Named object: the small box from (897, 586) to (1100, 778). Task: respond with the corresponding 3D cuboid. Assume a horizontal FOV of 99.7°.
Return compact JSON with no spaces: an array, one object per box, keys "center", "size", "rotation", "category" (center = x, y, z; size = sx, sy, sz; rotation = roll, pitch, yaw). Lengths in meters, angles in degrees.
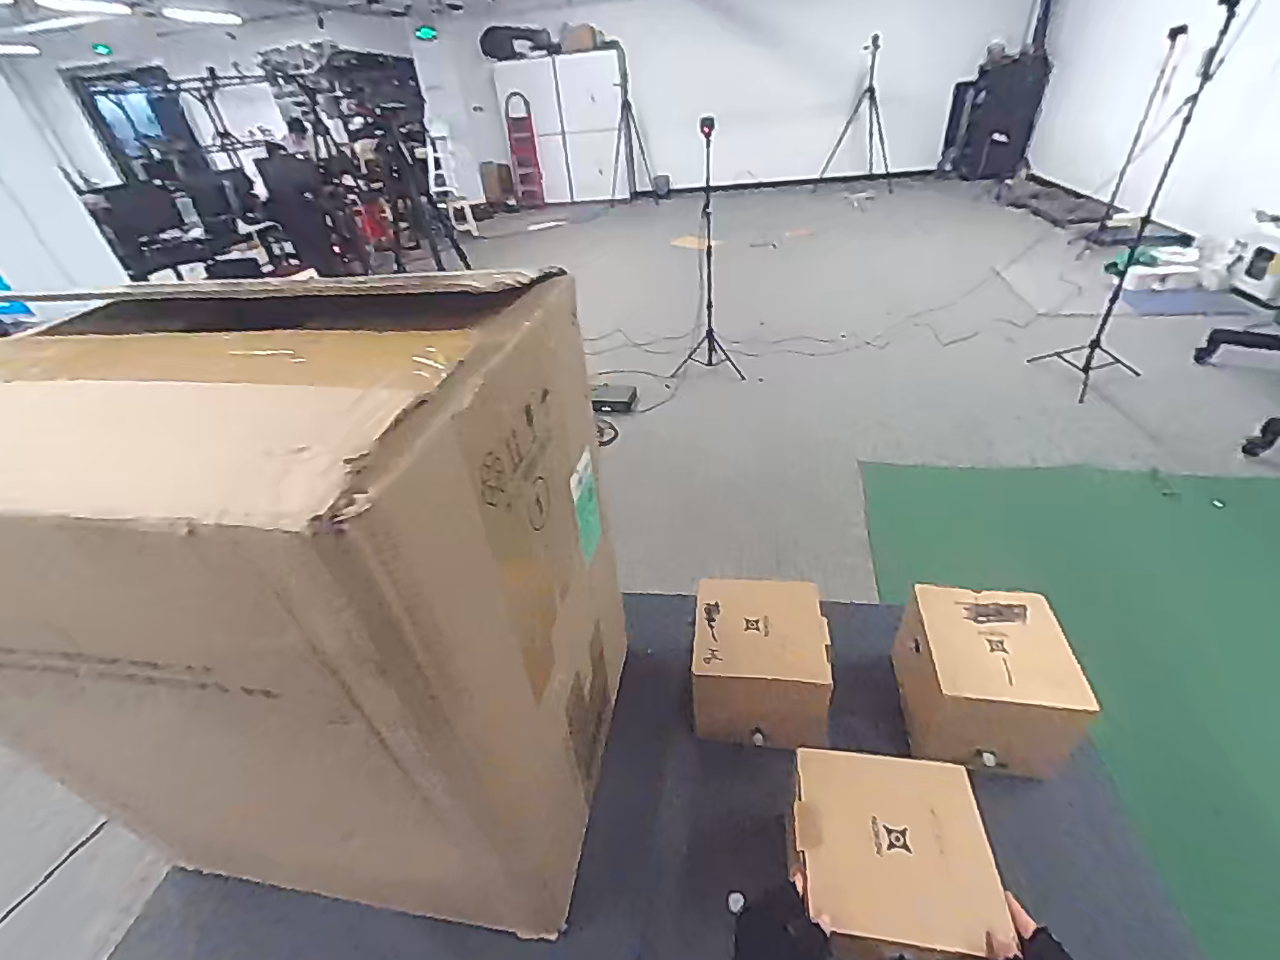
[{"center":[0.466,0.272,0.742],"size":[0.168,0.176,0.179],"rotation":[2,38,12],"category":"small box"}]
